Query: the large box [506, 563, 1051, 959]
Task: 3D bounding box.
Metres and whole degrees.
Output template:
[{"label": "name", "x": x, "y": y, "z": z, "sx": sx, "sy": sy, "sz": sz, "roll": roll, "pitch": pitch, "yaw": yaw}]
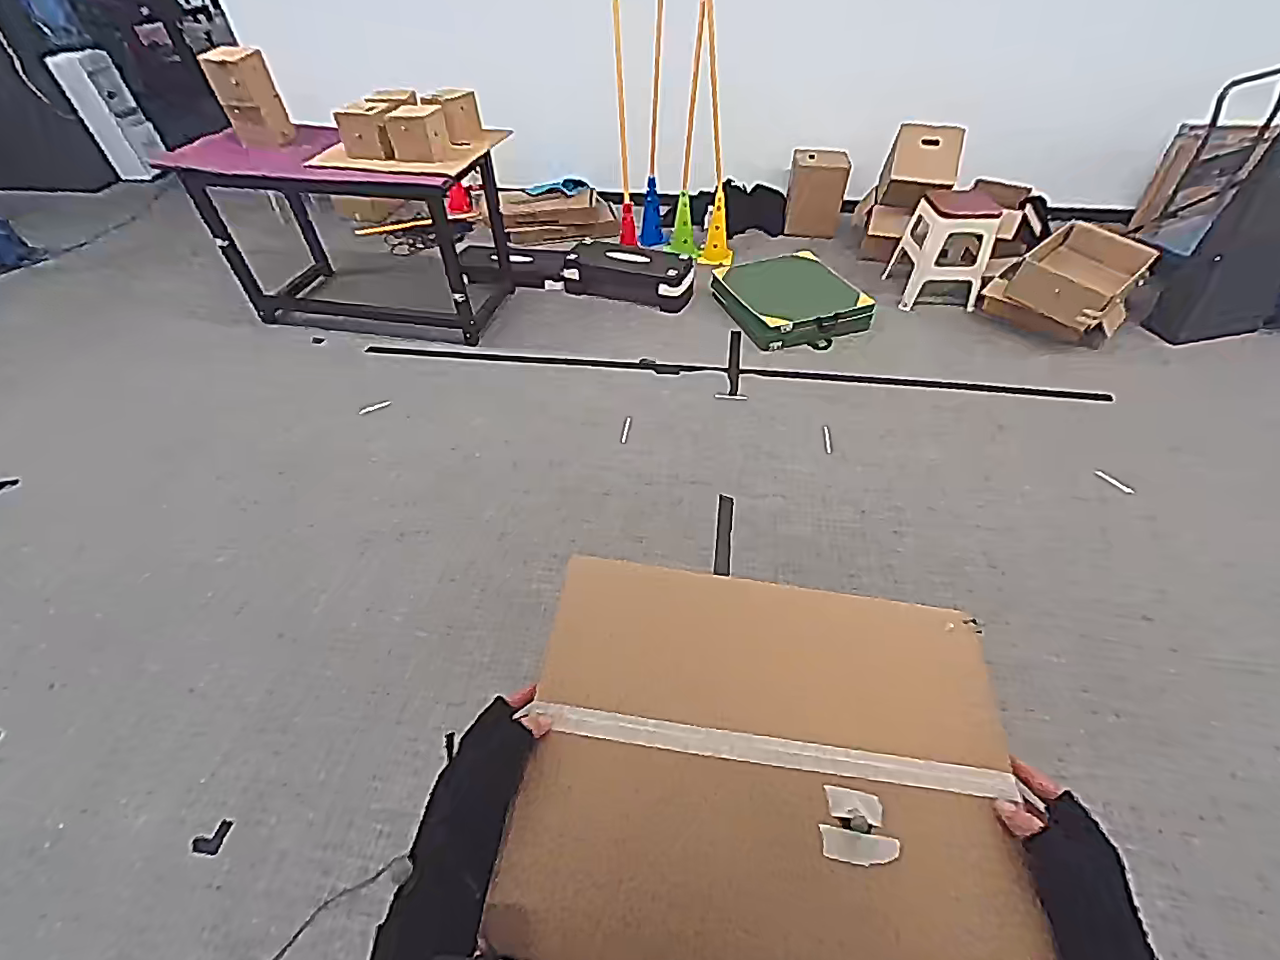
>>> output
[{"label": "large box", "x": 0.108, "y": 0.320, "z": 0.587, "sx": 0.408, "sy": 0.320, "sz": 0.320, "roll": 8, "pitch": 54, "yaw": 3}]
